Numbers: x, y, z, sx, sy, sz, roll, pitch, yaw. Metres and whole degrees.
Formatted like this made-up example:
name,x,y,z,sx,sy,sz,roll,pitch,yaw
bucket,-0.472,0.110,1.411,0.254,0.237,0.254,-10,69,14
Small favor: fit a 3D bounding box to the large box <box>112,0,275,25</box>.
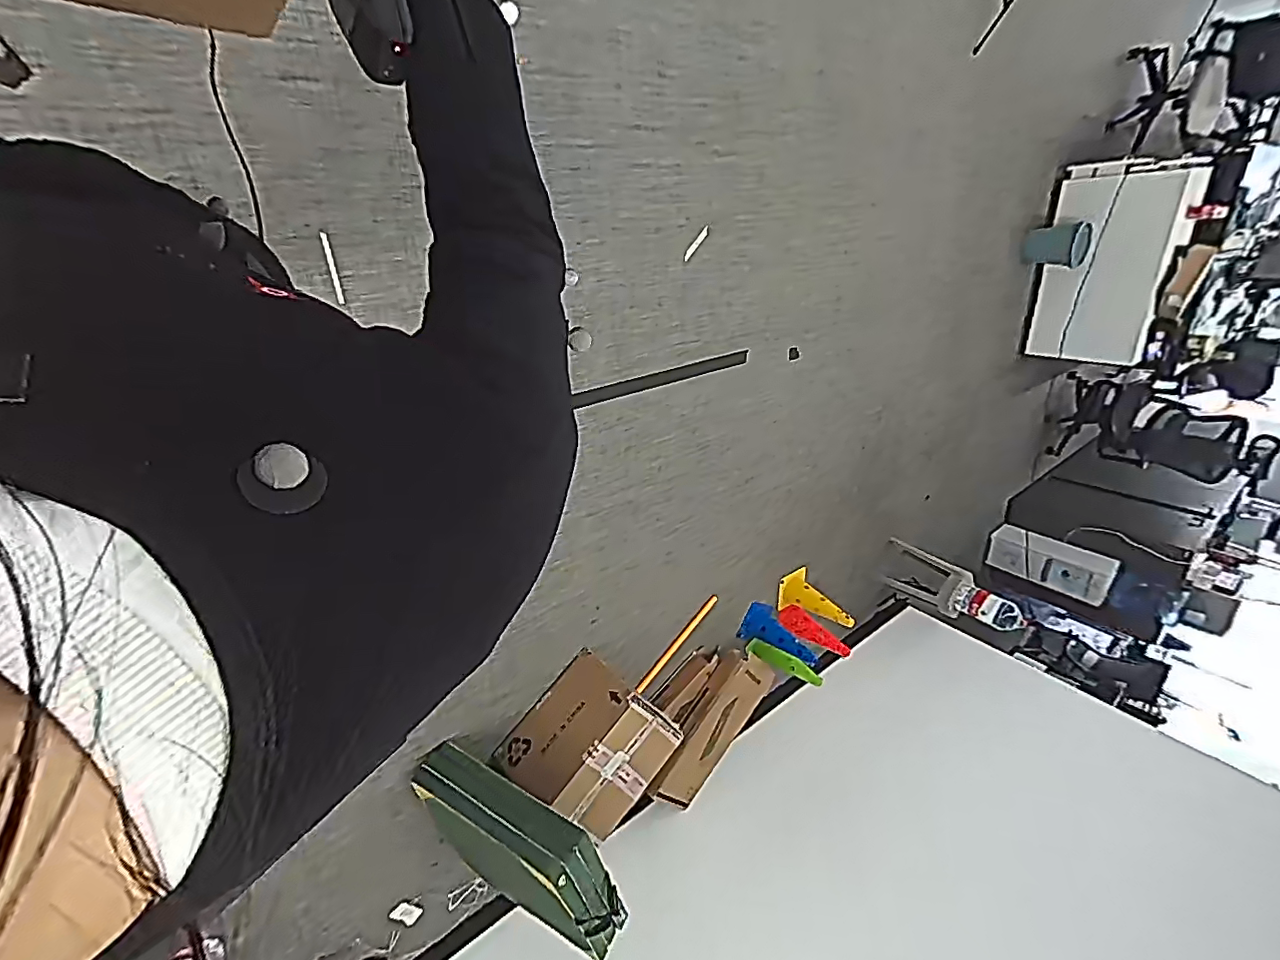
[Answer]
name,x,y,z,sx,sy,sz,roll,pitch,yaw
large box,-0.409,-0.453,0.222,0.408,0.320,0.320,-17,123,-35
